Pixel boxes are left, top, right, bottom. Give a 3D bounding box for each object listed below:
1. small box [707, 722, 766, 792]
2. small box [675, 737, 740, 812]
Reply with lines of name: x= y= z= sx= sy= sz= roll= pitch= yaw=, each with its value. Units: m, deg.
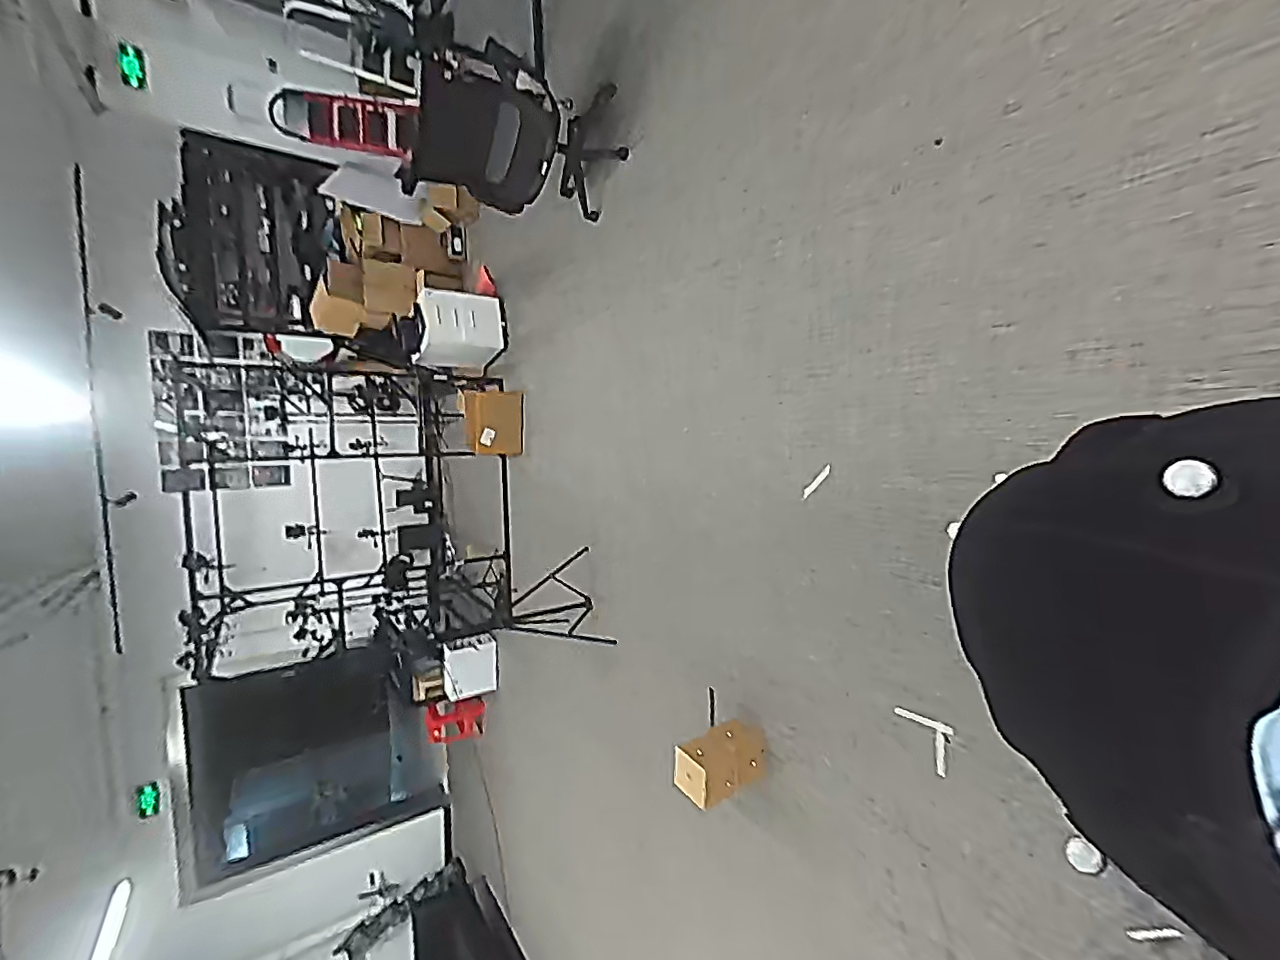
small box: x=0.388 y=1.094 z=2.154 sx=0.179 sy=0.176 sz=0.168 roll=2 pitch=95 yaw=56
small box: x=0.256 y=1.110 z=2.059 sx=0.179 sy=0.176 sz=0.168 roll=13 pitch=104 yaw=54
